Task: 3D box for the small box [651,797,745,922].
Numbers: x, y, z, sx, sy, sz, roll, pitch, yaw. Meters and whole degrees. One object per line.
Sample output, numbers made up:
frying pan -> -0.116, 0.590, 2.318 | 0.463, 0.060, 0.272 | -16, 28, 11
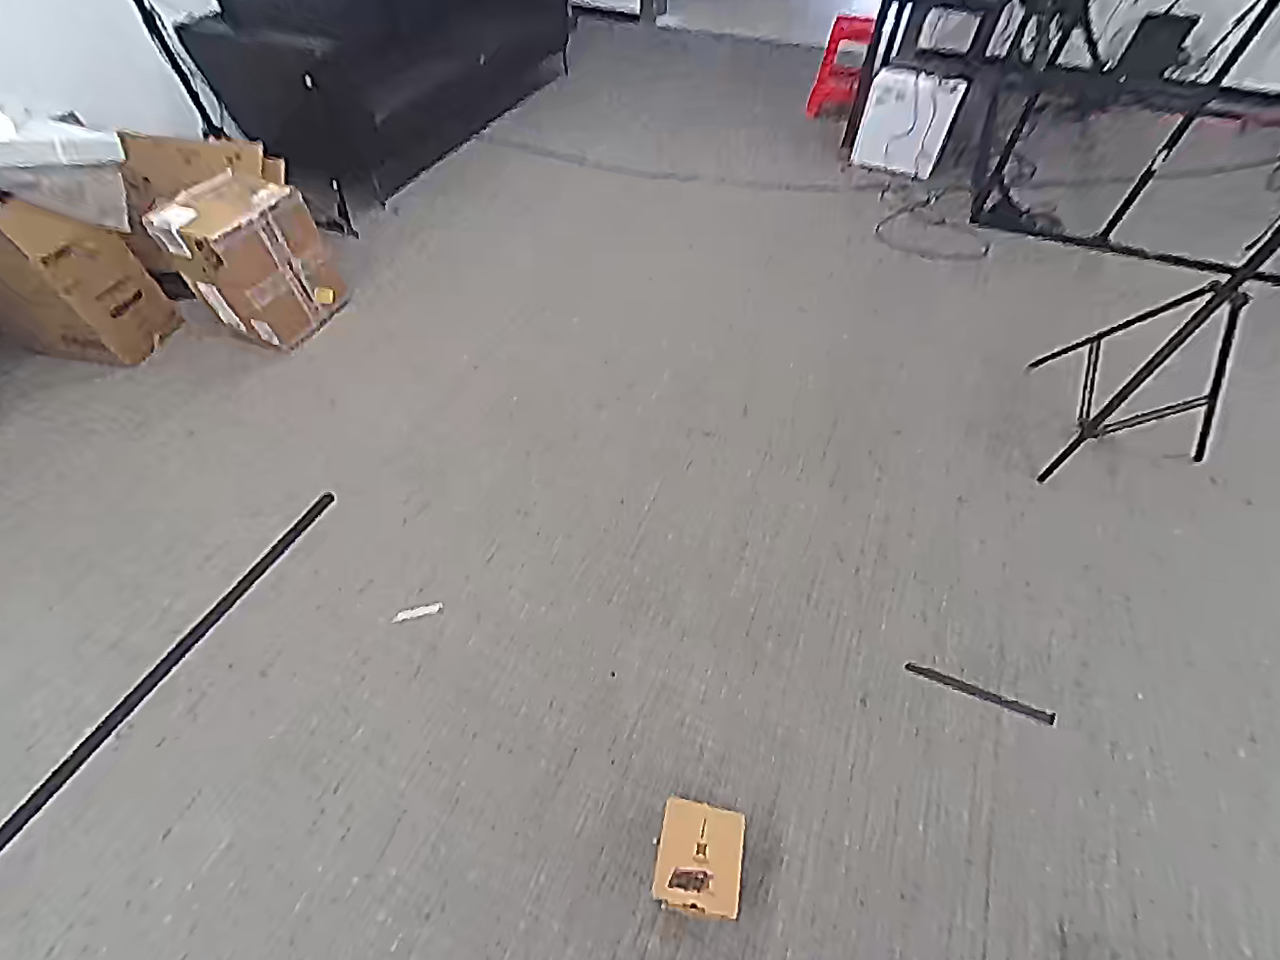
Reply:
small box -> 0.121, 0.796, 1.138 | 0.168, 0.176, 0.179 | 10, 53, 8
